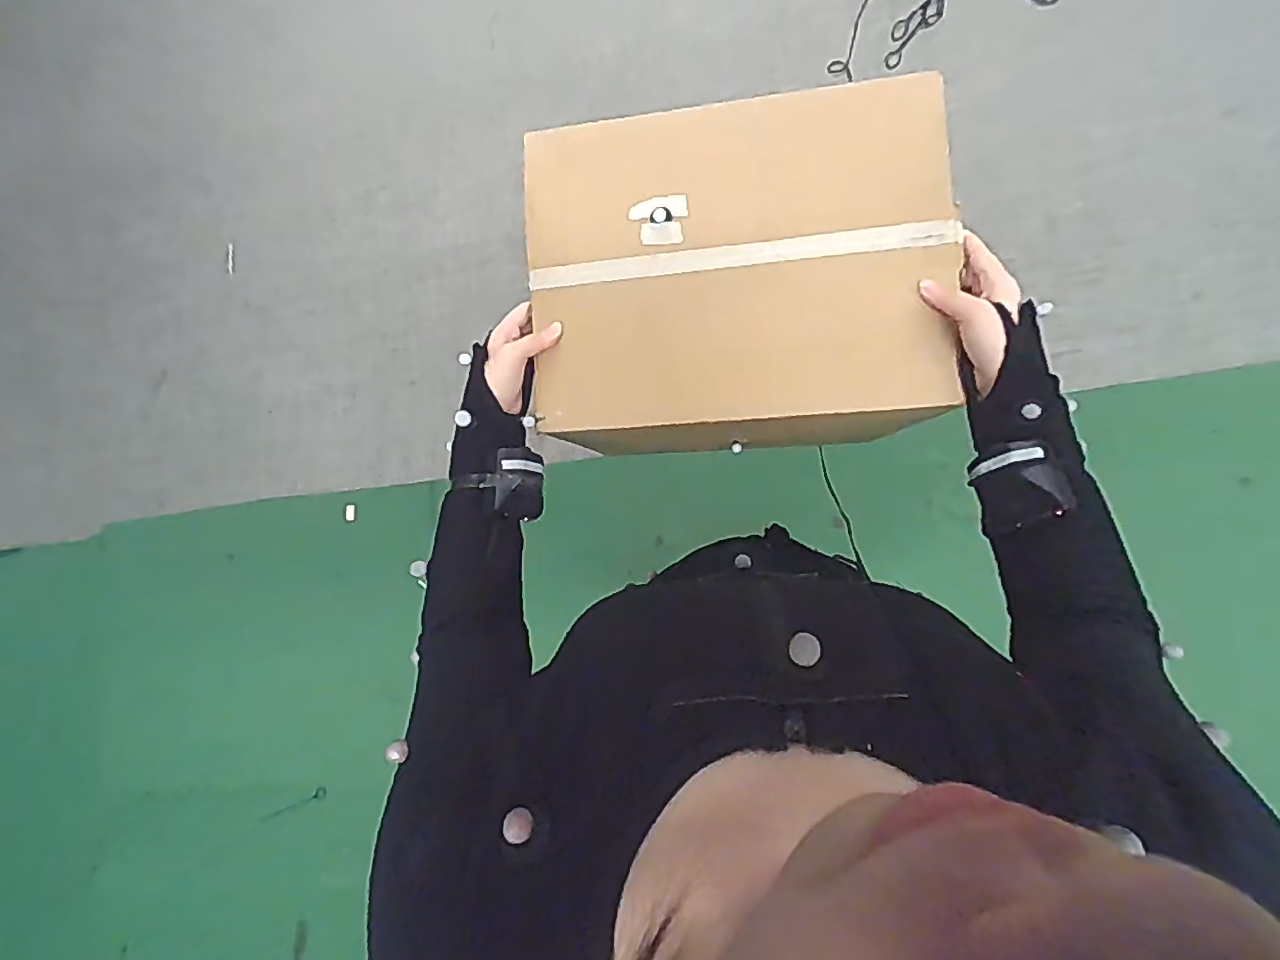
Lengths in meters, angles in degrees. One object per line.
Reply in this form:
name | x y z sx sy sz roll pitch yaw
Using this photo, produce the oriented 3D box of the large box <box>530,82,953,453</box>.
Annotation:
large box | 0.114 -0.207 0.683 0.408 0.320 0.320 -3 87 10
